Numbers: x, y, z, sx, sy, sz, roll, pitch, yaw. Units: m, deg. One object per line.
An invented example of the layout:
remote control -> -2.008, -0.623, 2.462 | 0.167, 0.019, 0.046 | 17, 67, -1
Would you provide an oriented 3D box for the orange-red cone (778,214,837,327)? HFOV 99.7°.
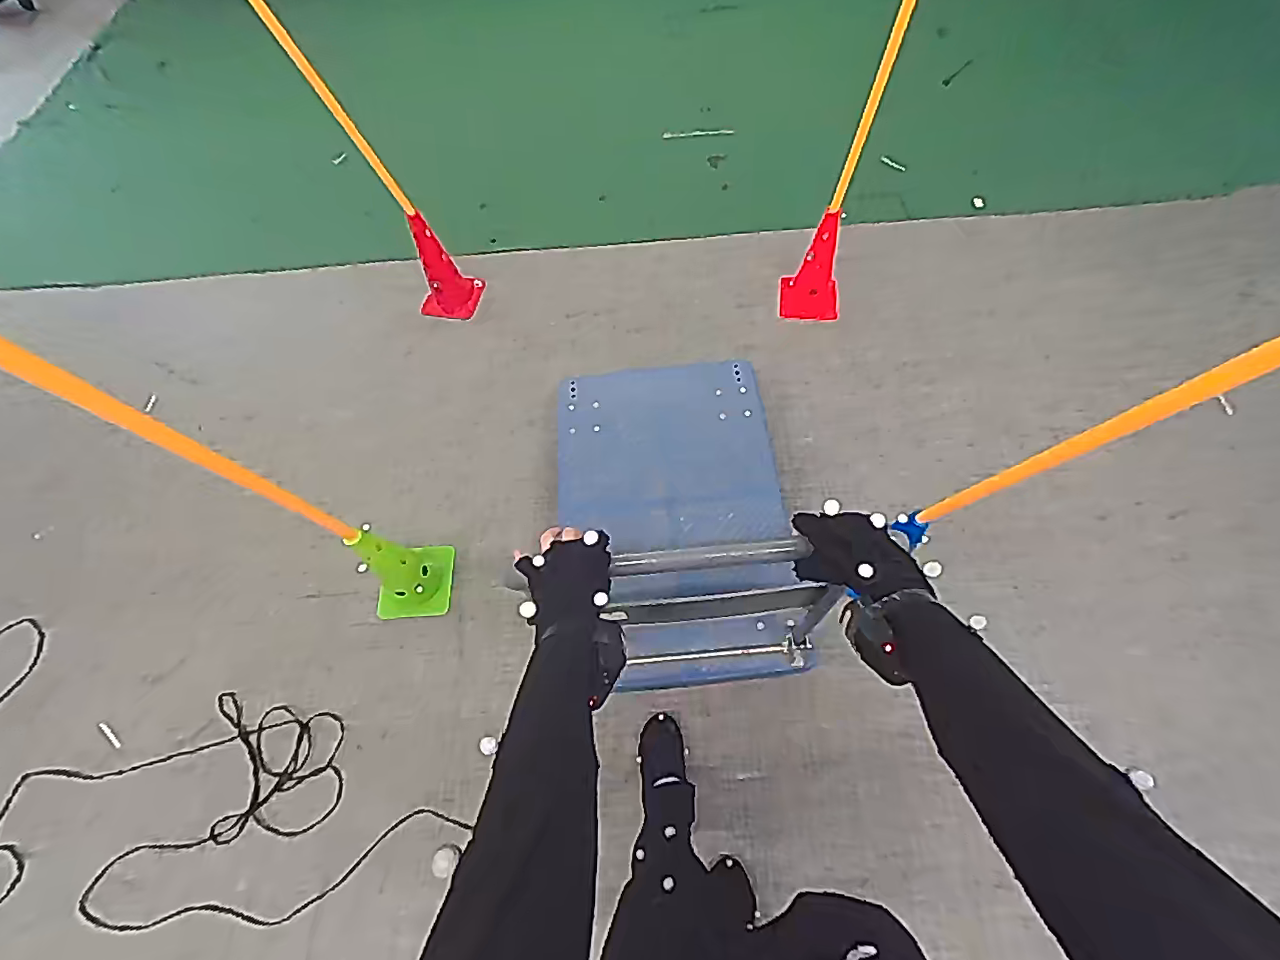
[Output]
orange-red cone -> 0.581, -0.696, 1.762 | 0.198, 0.360, 0.199 | 6, 64, 8
